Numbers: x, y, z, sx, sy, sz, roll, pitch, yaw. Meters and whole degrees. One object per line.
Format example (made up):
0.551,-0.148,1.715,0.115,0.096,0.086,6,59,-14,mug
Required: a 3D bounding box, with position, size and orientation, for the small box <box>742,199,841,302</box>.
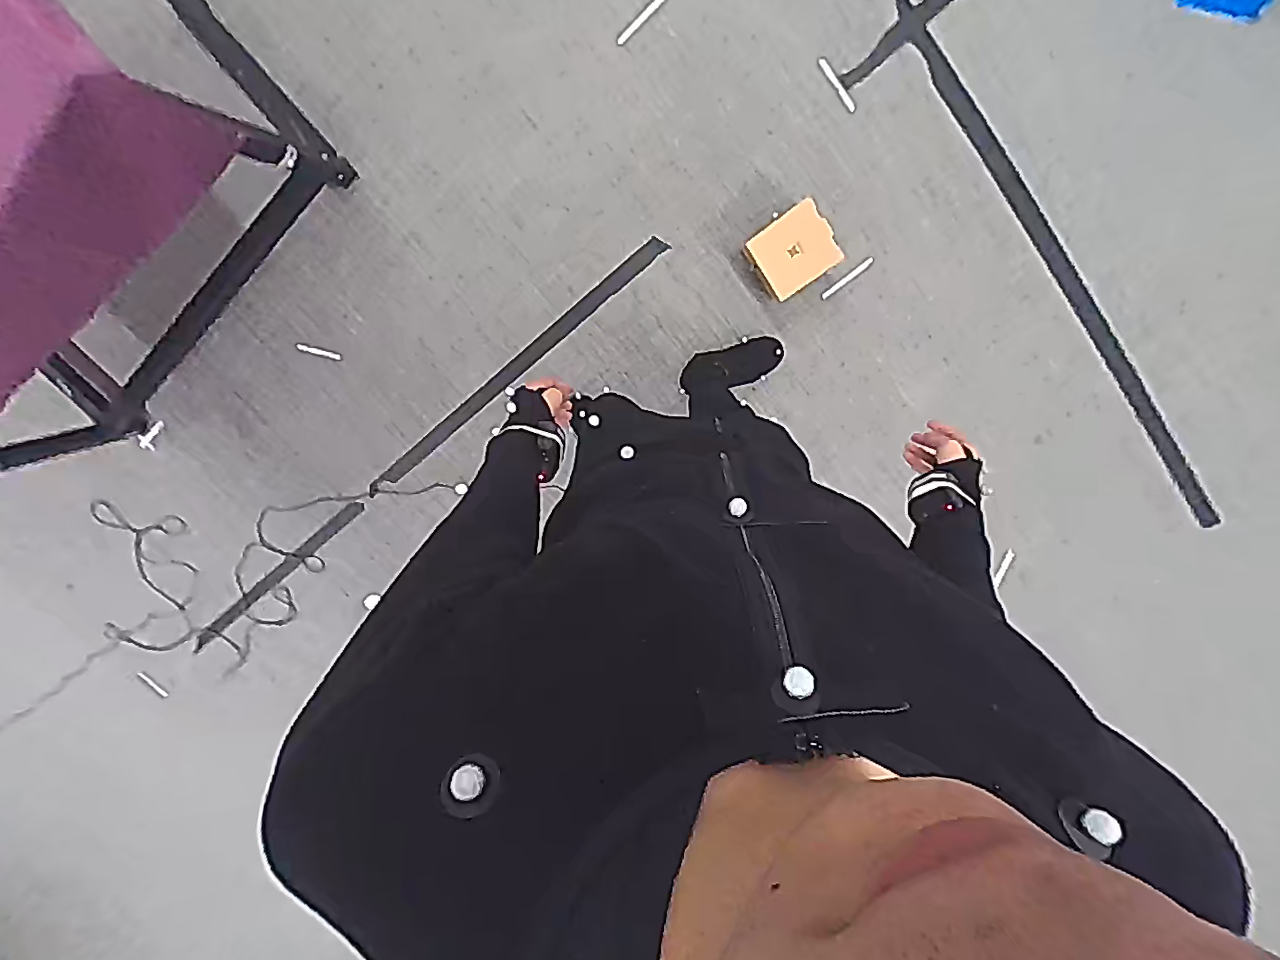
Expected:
0.371,-0.567,1.359,0.179,0.176,0.168,-33,103,15,small box
